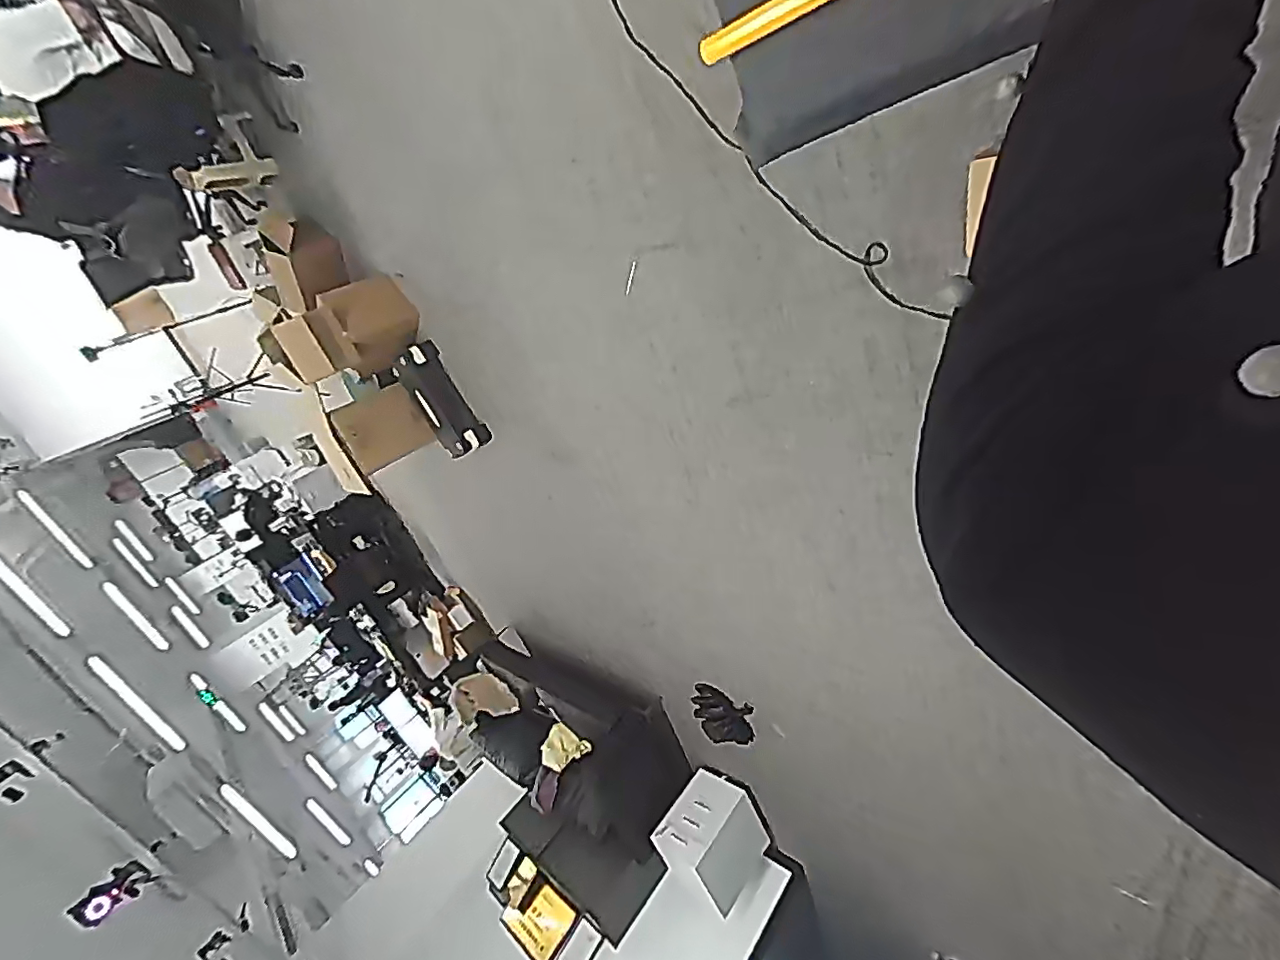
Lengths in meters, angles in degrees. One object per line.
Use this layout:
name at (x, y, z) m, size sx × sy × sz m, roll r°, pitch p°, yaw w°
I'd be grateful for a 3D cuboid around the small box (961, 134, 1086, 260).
small box at (0.731, -0.542, 1.034) m, size 0.168 × 0.176 × 0.179 m, roll 11°, pitch 129°, yaw 42°
